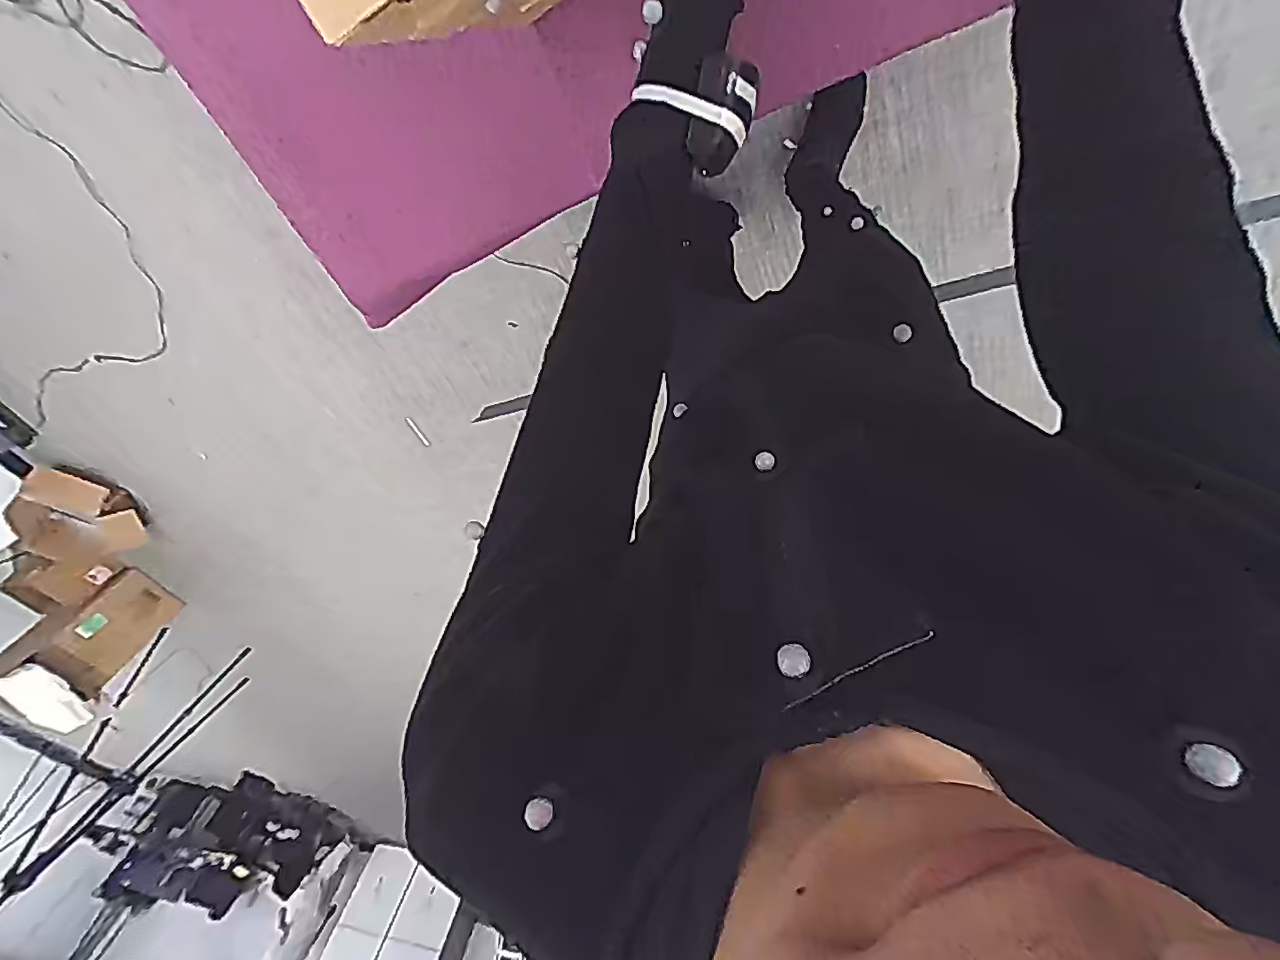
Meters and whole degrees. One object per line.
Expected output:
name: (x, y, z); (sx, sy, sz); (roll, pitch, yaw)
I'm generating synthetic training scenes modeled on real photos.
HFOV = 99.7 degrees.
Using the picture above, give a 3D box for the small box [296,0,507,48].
small box: (-0.160, -0.426, 0.355); (0.168, 0.176, 0.179); (-12, 126, 25)

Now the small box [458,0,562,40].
small box: (-0.115, -0.533, 0.472); (0.168, 0.176, 0.179); (-14, 125, 26)
